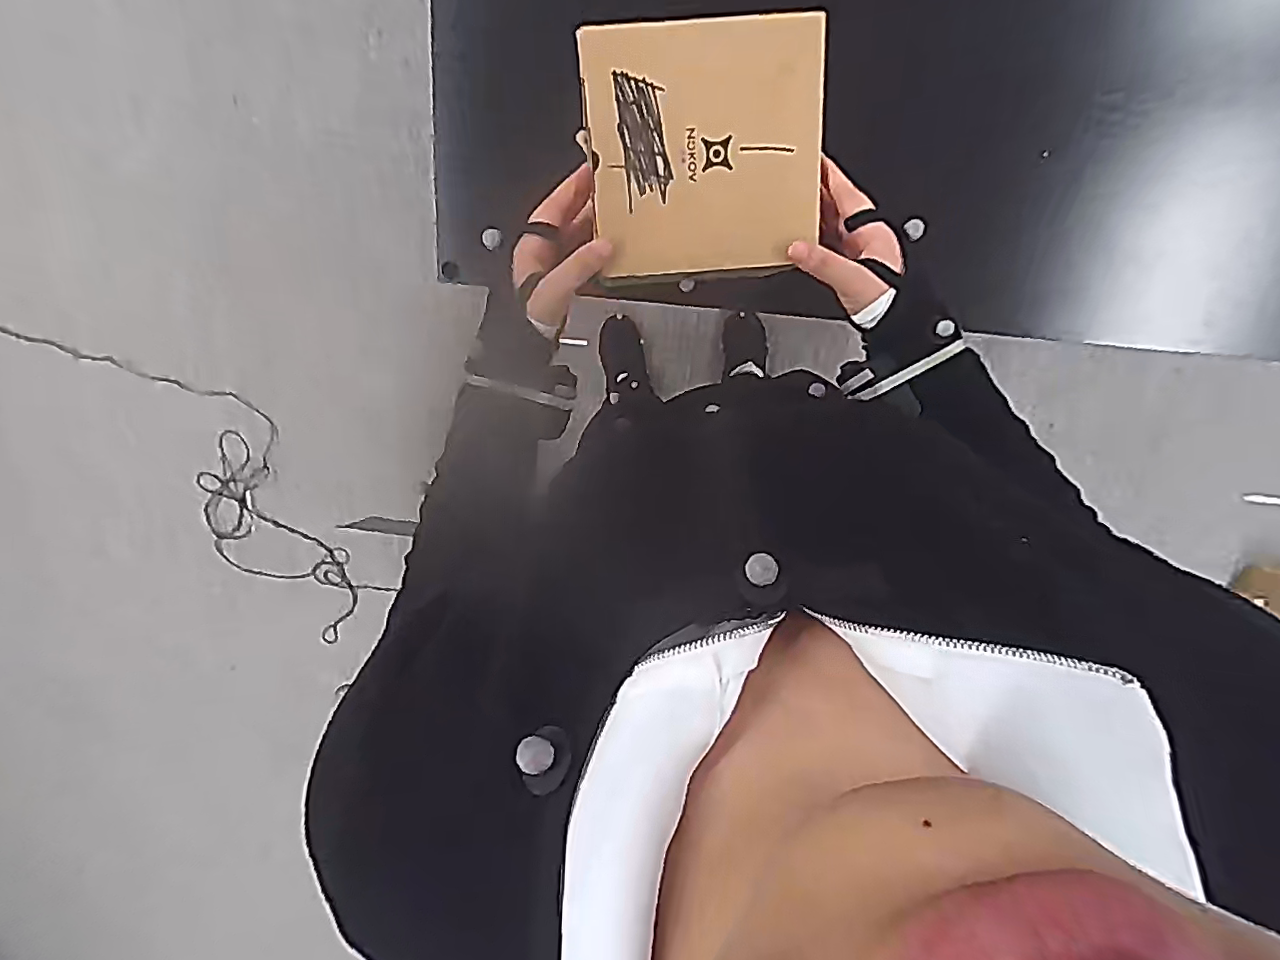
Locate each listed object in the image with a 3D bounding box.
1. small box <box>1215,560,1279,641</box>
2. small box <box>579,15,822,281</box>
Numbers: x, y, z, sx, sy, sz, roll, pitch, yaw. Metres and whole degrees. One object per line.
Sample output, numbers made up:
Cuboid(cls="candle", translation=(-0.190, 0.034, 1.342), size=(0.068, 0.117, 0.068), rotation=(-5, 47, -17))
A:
Cuboid(cls="small box", translation=(1.762, 0.335, 1.479), size=(0.179, 0.176, 0.168), rotation=(8, 109, 1))
Cuboid(cls="small box", translation=(0.044, -0.272, 0.483), size=(0.179, 0.176, 0.168), rotation=(-4, 108, -2))
